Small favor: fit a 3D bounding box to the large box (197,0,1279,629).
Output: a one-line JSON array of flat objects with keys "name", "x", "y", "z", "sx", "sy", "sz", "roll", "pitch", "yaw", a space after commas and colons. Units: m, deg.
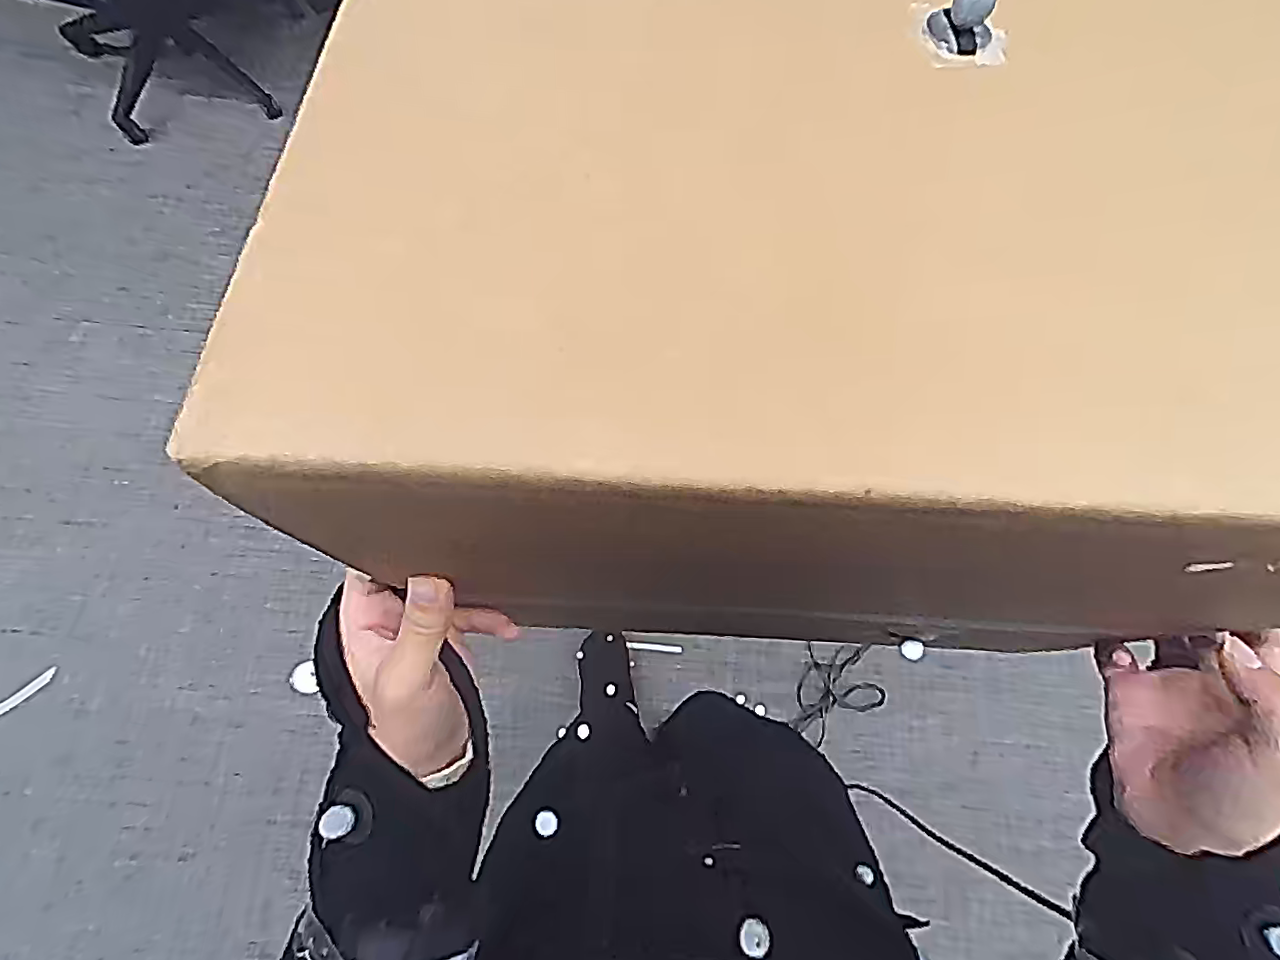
[{"name": "large box", "x": 0.090, "y": -0.091, "z": 0.318, "sx": 0.408, "sy": 0.320, "sz": 0.320, "roll": 2, "pitch": 70, "yaw": -2}]
